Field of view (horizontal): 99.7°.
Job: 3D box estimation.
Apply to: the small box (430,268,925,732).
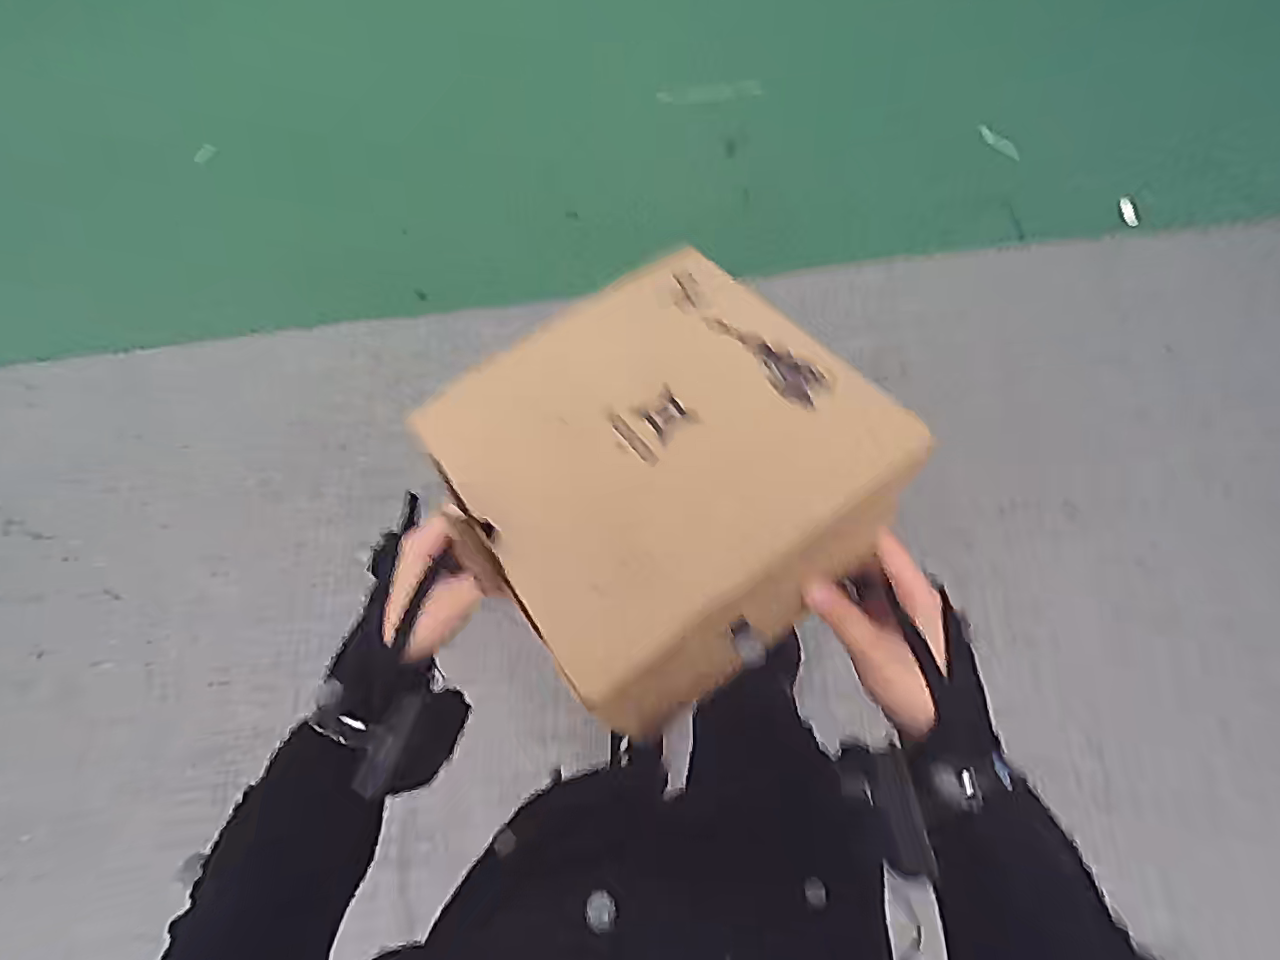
[{"bbox_3d":[0.019,0.022,0.317,0.179,0.176,0.168,-34,61,-11],"label":"small box"}]
